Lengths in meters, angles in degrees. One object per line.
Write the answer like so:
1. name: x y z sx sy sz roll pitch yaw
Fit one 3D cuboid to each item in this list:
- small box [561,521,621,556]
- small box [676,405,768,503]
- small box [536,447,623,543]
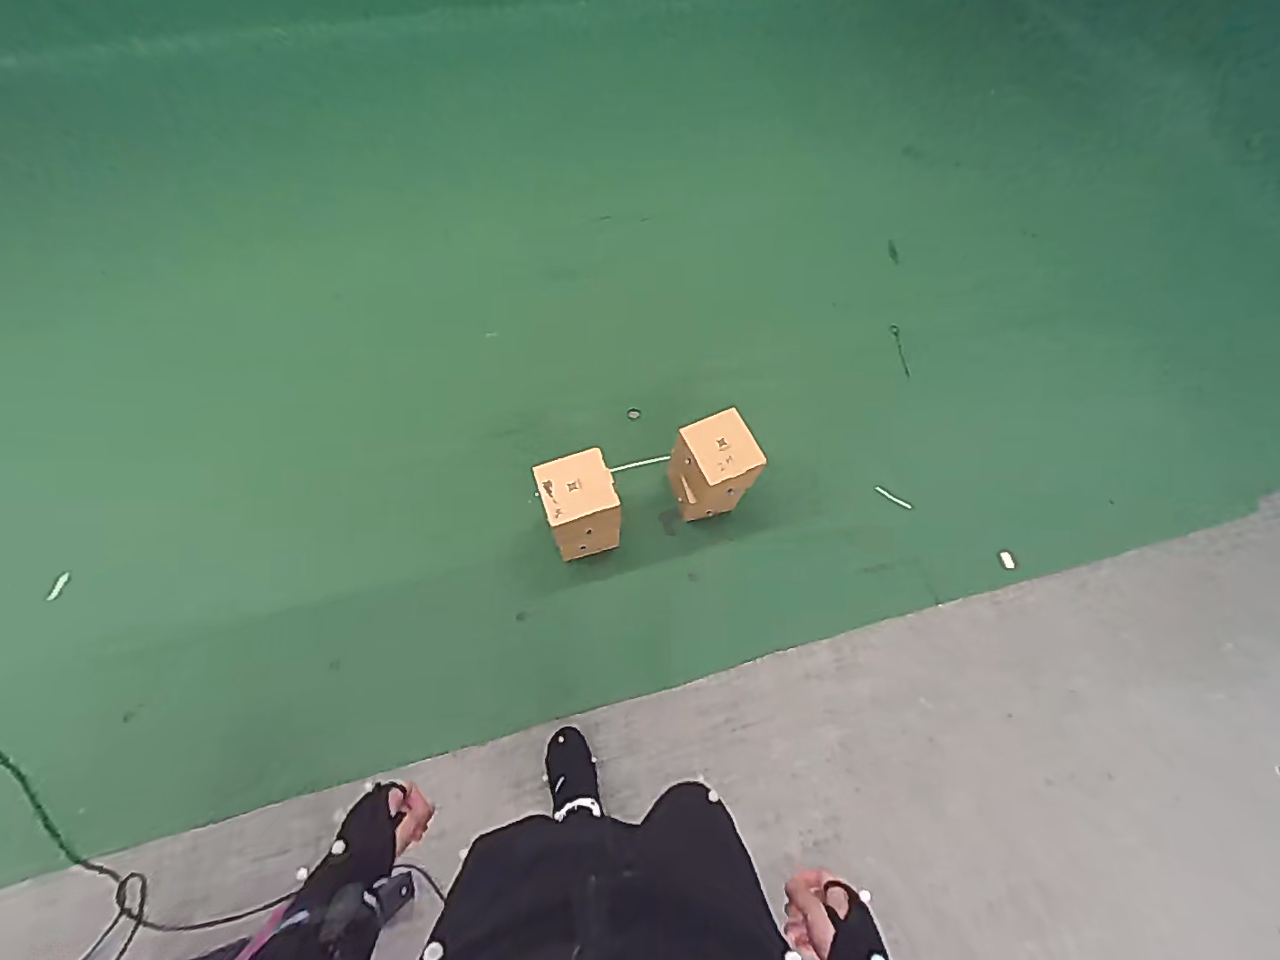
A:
1. small box: -0.153 0.105 1.534 0.168 0.176 0.179 -16 68 -8
2. small box: 0.209 -0.065 1.439 0.168 0.176 0.179 -23 72 -11
3. small box: -0.153 0.042 1.382 0.179 0.176 0.168 -18 69 -9
